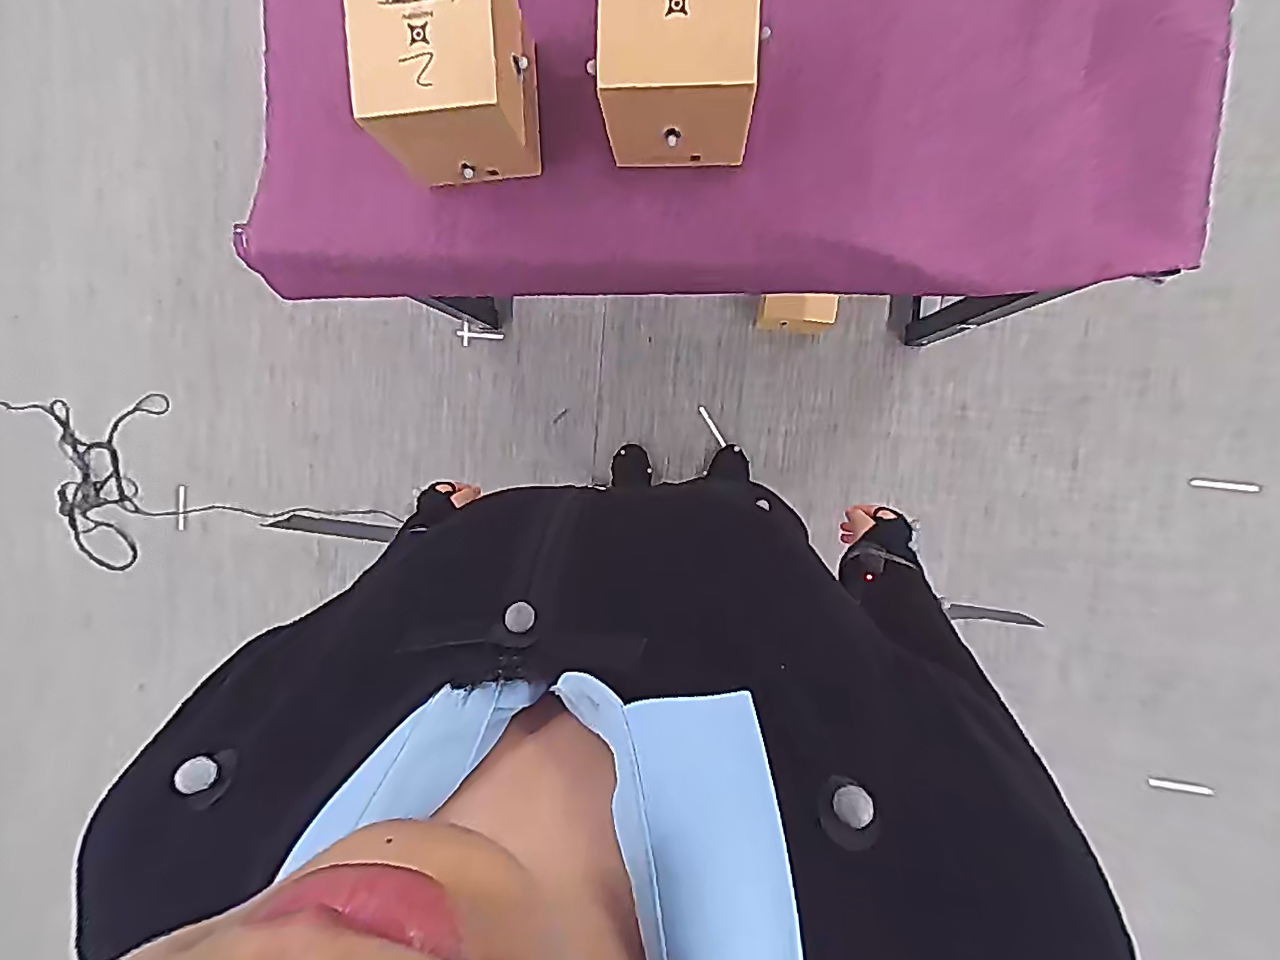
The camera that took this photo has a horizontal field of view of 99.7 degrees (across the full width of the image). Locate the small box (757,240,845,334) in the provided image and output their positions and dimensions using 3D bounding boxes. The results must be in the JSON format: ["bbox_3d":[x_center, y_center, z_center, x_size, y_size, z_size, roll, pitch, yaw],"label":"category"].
[{"bbox_3d":[0.389,-0.467,1.336,0.168,0.176,0.179,9,96,5],"label":"small box"}]

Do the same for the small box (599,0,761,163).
[{"bbox_3d":[0.049,-0.495,0.627,0.168,0.176,0.179,3,94,4],"label":"small box"}]
